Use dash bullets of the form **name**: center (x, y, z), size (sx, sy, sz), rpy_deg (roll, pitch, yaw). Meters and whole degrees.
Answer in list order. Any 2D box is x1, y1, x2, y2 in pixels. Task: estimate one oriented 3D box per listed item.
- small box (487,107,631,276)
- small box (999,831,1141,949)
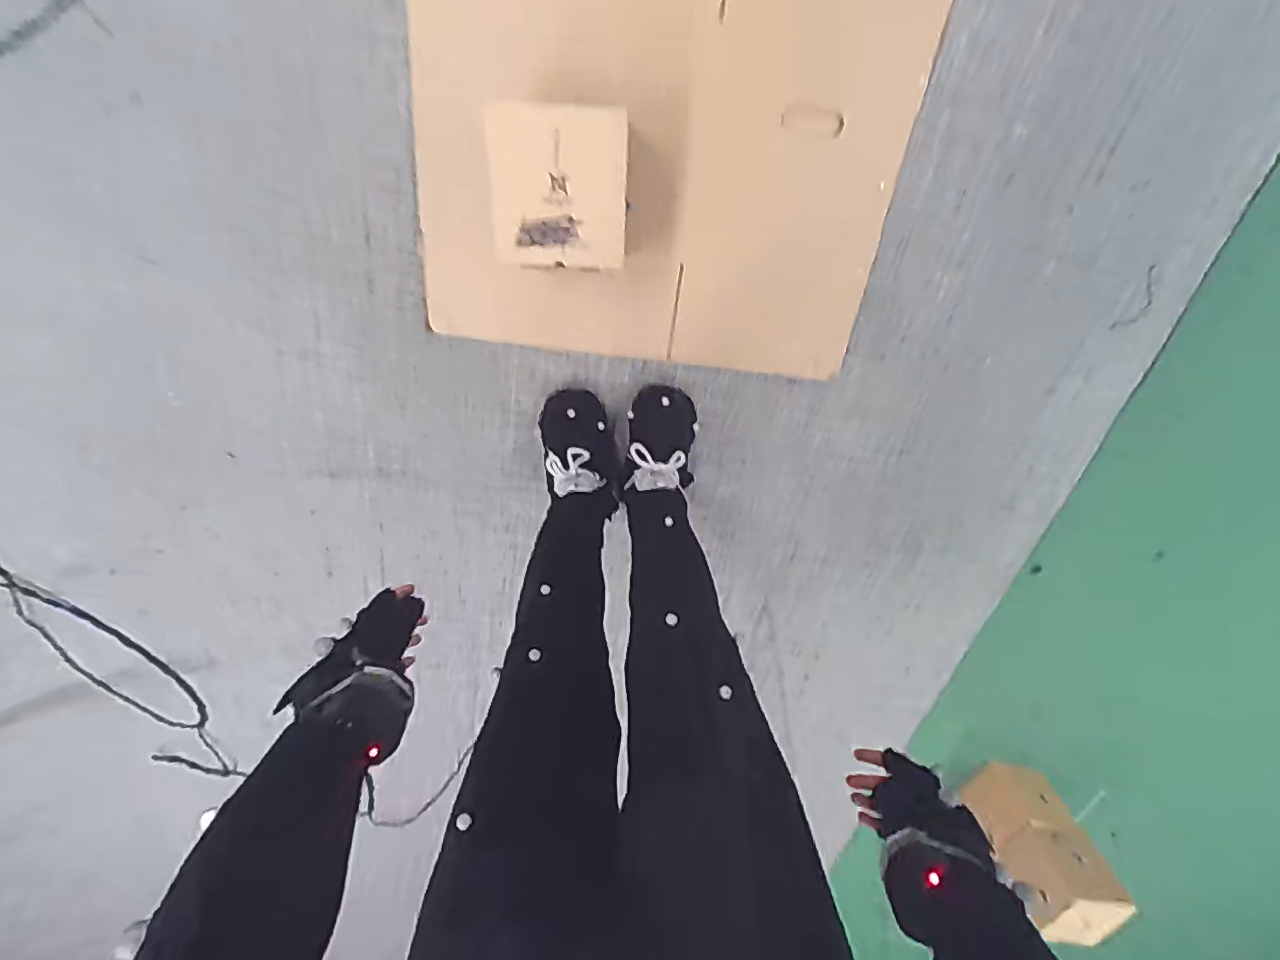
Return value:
- **small box**: center (-0.098, -0.381, 0.725), size (0.168, 0.176, 0.179), rpy_deg (2, 117, -2)
- **small box**: center (1.013, 0.978, 1.295), size (0.168, 0.176, 0.179), rpy_deg (13, 117, -8)
